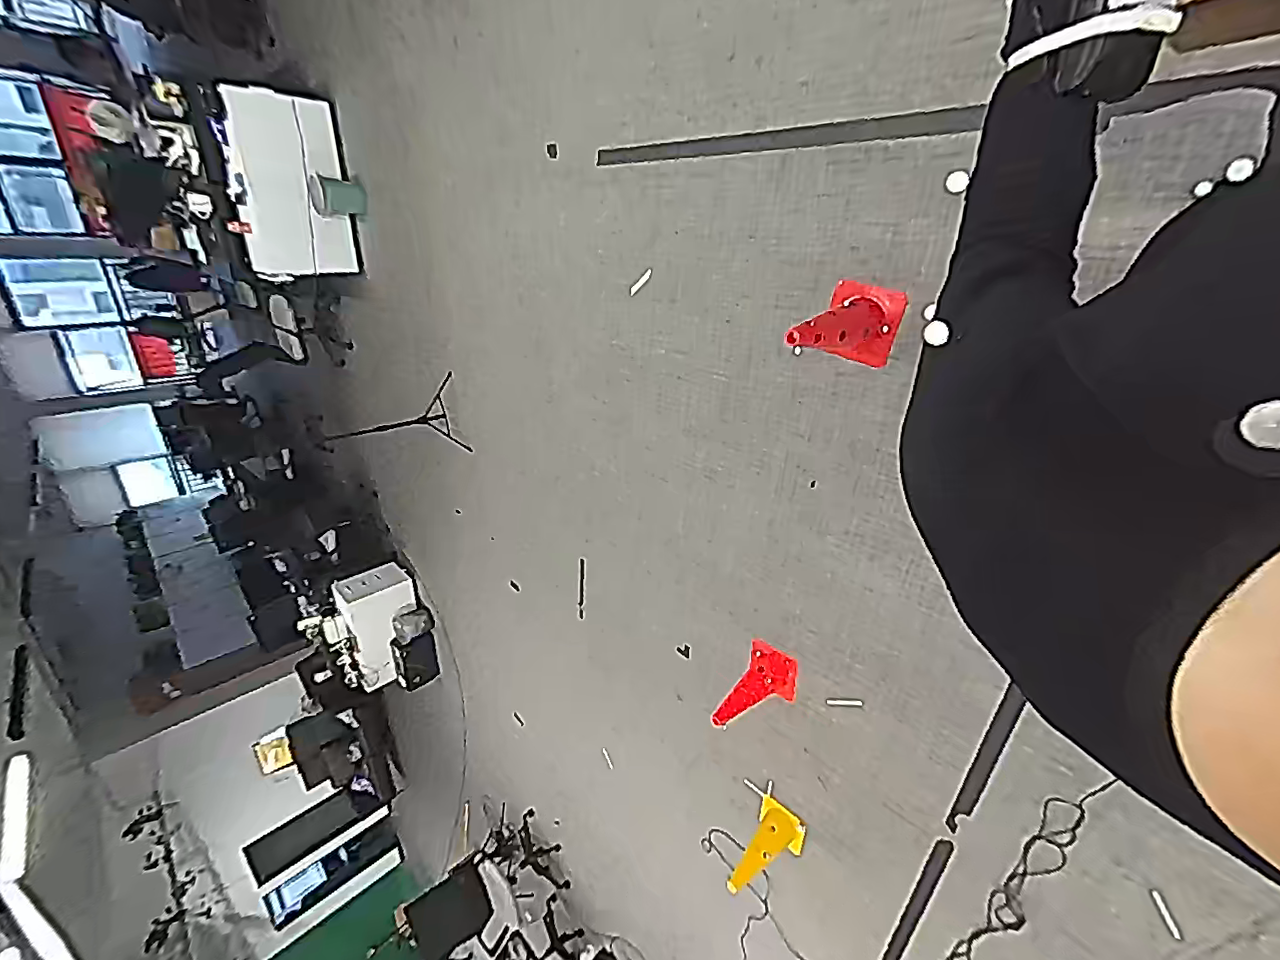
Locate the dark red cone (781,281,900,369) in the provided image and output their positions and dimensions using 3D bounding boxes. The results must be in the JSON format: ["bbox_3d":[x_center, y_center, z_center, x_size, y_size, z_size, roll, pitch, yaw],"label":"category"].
[{"bbox_3d":[0.465,-0.373,1.343,0.201,0.394,0.202,30,126,35],"label":"dark red cone"}]

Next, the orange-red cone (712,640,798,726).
[{"bbox_3d":[0.387,0.774,1.950,0.198,0.360,0.199,23,123,42],"label":"orange-red cone"}]

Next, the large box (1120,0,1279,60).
[{"bbox_3d":[0.540,-0.455,0.253,0.408,0.320,0.320,18,126,42],"label":"large box"}]
